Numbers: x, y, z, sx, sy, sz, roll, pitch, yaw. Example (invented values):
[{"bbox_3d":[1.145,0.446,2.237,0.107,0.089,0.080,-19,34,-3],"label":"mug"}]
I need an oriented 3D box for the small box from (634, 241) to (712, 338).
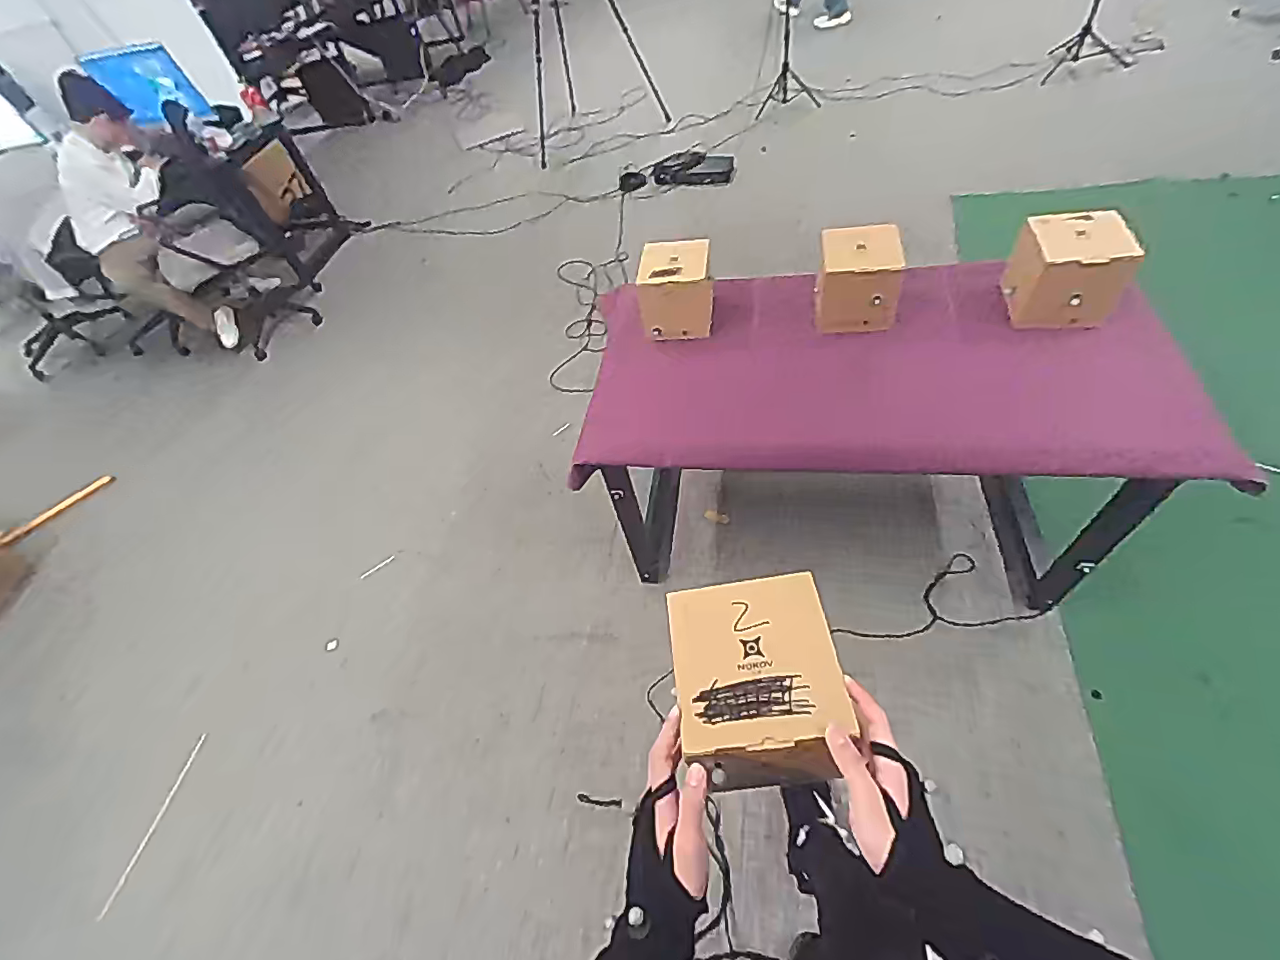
[{"bbox_3d":[0.091,-0.471,1.361,0.168,0.176,0.179,0,53,12],"label":"small box"}]

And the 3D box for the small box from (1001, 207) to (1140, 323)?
[{"bbox_3d":[0.905,-0.451,1.157,0.168,0.176,0.179,2,55,14],"label":"small box"}]

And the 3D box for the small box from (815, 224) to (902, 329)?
[{"bbox_3d":[0.504,-0.468,1.266,0.168,0.176,0.179,1,54,13],"label":"small box"}]
